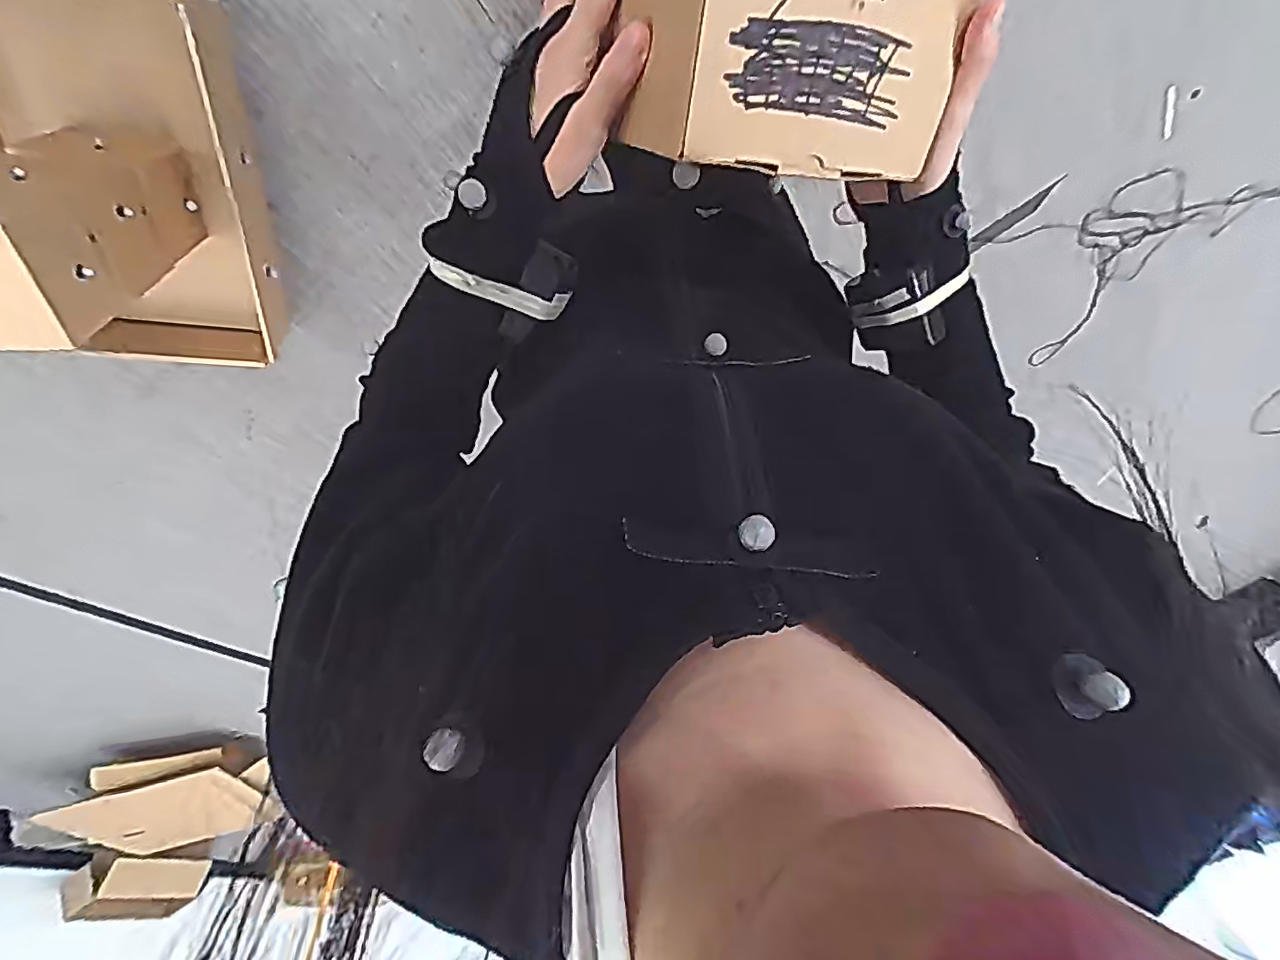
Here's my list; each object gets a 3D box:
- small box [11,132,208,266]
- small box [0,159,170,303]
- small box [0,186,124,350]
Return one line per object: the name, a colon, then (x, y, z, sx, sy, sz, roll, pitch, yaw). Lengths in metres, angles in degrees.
small box: (-0.925, -0.505, 0.967, 0.179, 0.176, 0.168, 0, 131, -17)
small box: (-0.895, -0.393, 0.853, 0.179, 0.176, 0.168, -2, 131, -13)
small box: (-0.857, -0.289, 0.730, 0.179, 0.176, 0.168, -3, 130, -14)
